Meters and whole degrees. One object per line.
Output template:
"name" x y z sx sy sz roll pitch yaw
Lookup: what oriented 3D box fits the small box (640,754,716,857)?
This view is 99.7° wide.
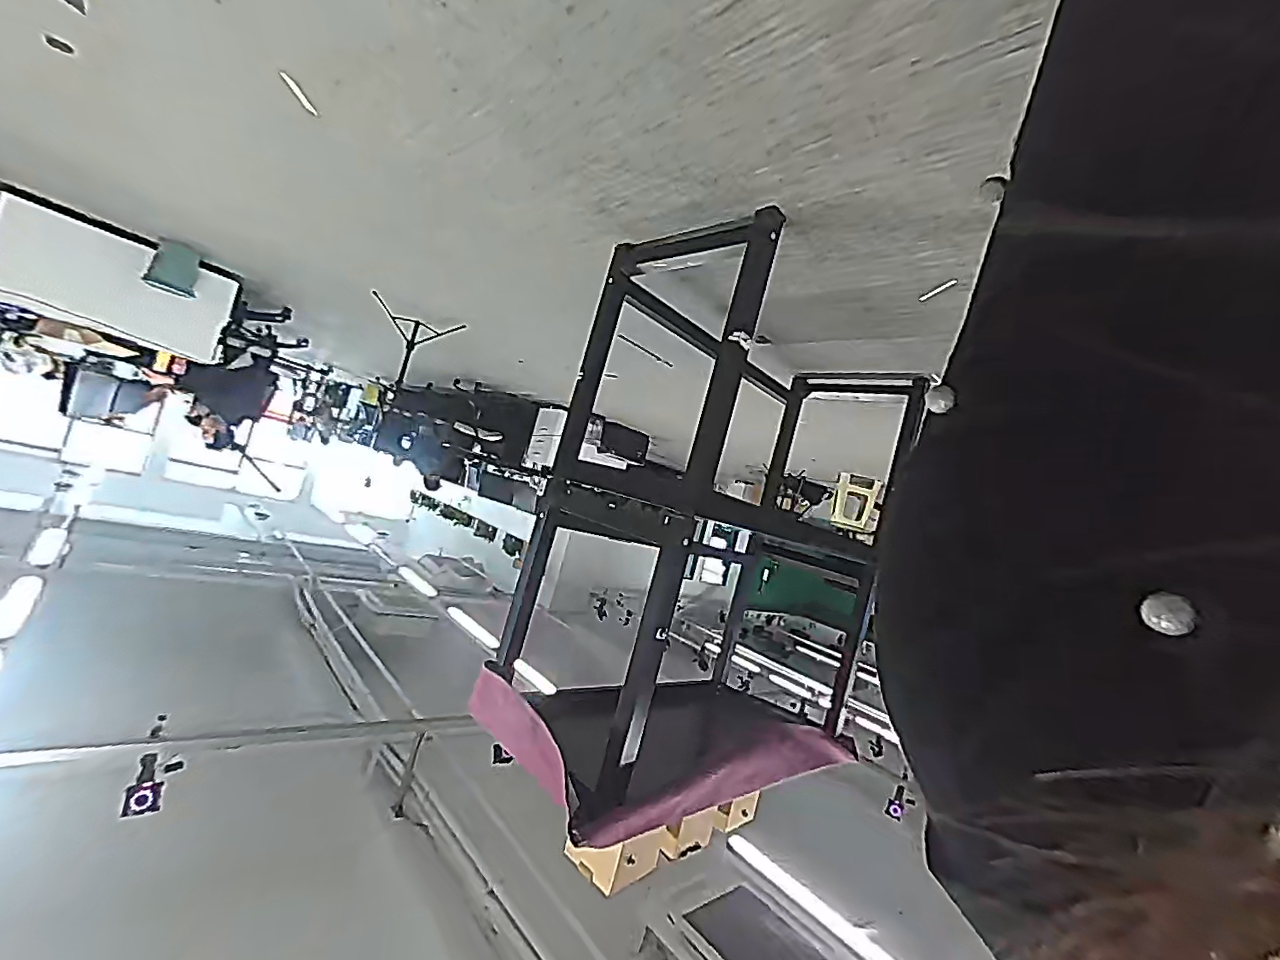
"small box" 0.100 0.920 1.546 0.168 0.176 0.179 17 178 -44

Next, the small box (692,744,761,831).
"small box" 0.268 0.973 1.735 0.168 0.176 0.179 13 177 42

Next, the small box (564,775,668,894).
"small box" -0.057 0.872 1.356 0.168 0.176 0.179 15 179 41
